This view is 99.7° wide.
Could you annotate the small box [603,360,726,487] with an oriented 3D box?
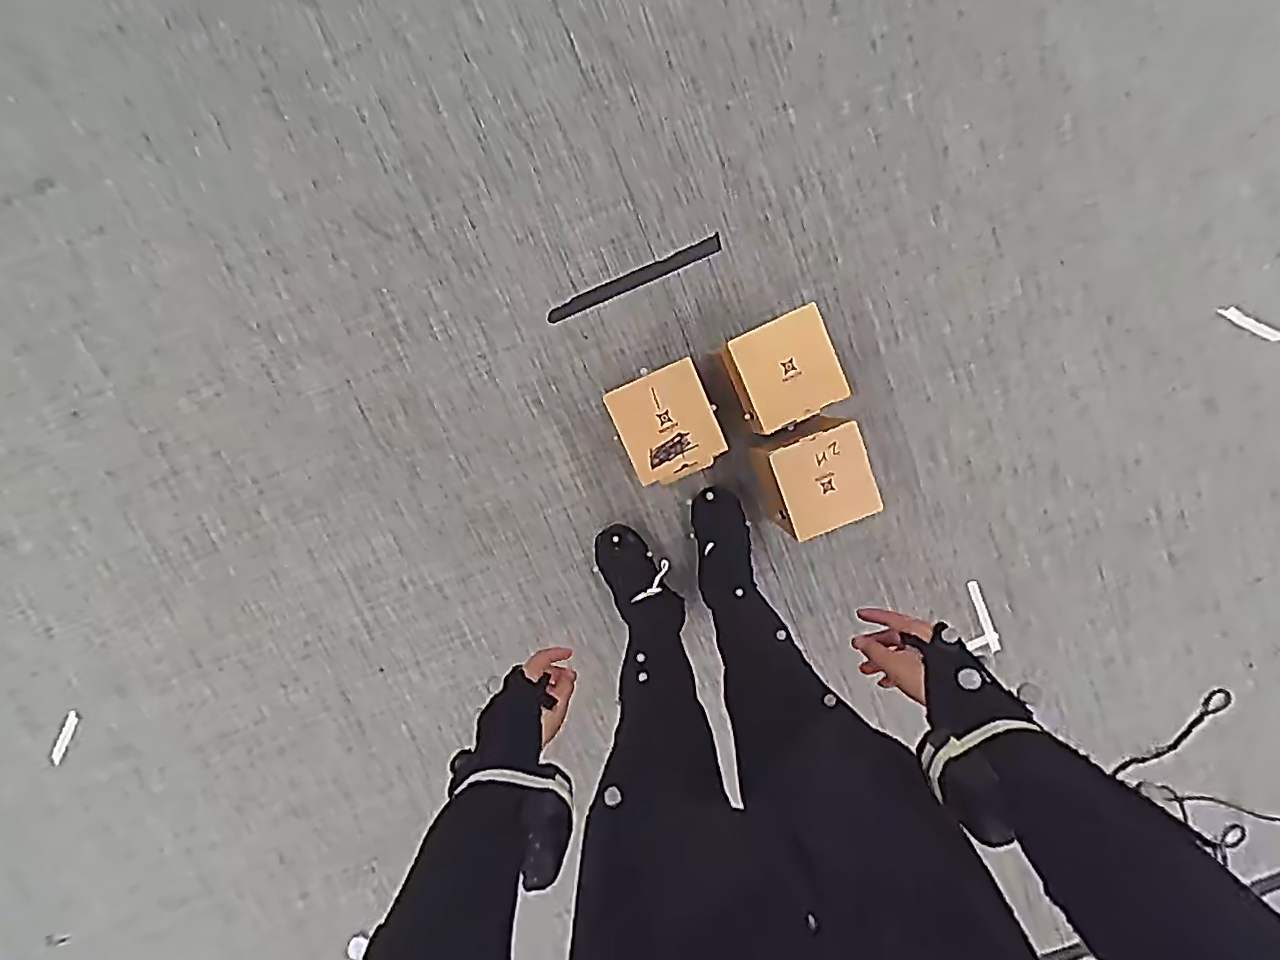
[{"bbox_3d":[0.043,-0.107,1.004,0.168,0.176,0.179,-24,98,2],"label":"small box"}]
